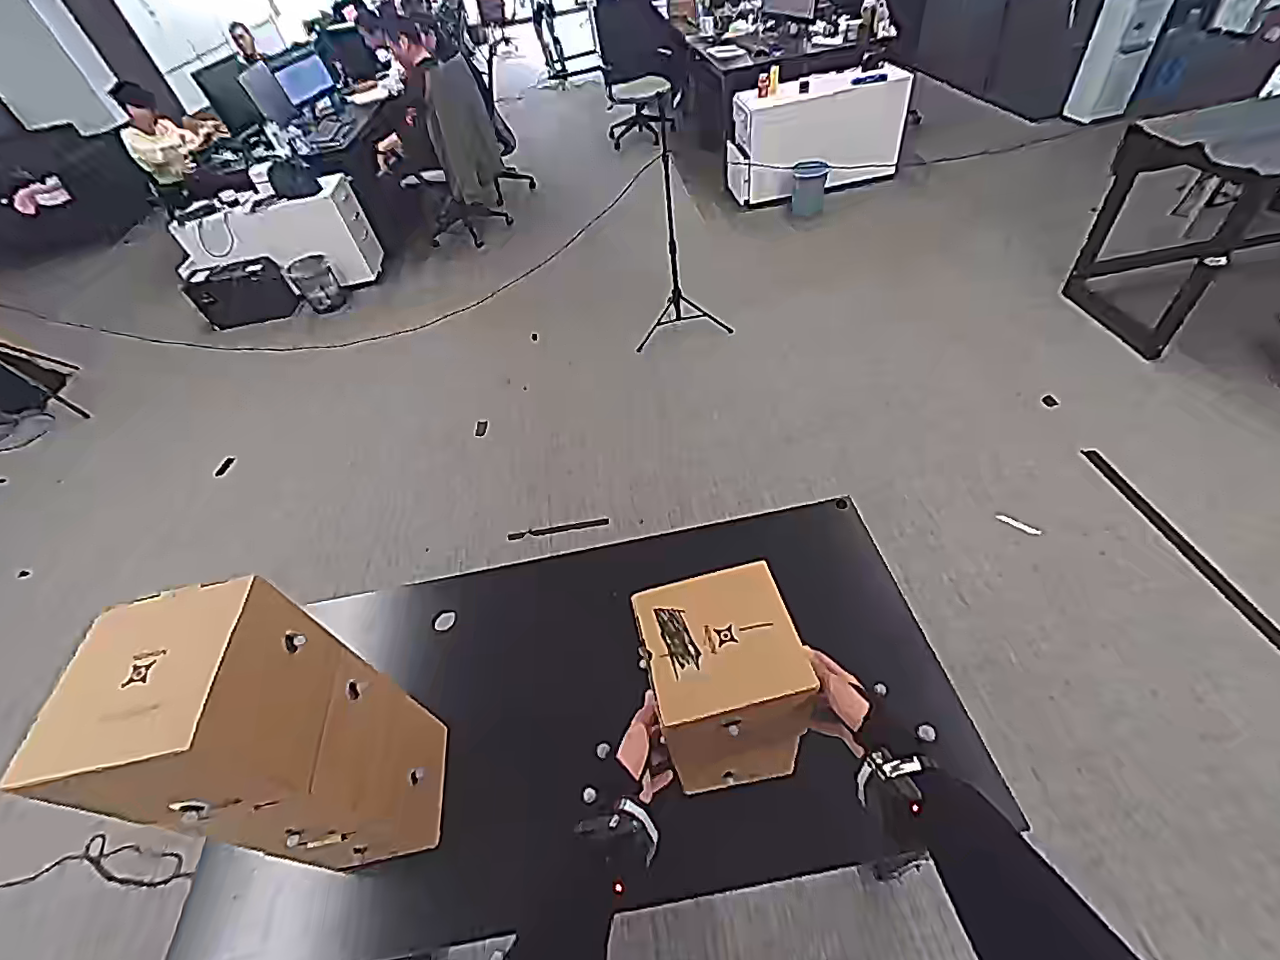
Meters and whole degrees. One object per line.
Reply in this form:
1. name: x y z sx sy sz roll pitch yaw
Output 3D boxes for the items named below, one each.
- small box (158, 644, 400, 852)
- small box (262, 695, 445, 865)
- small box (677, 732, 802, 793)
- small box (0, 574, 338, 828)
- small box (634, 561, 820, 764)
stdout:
1. small box: -0.423 0.335 0.675 0.168 0.176 0.179 -13 48 0
2. small box: -0.401 0.446 0.795 0.168 0.176 0.179 -13 48 -1
3. small box: 0.124 0.334 0.798 0.168 0.176 0.179 -12 48 0
4. small box: -0.444 0.227 0.554 0.168 0.176 0.179 -13 48 0
5. small box: 0.102 0.231 0.672 0.179 0.176 0.168 -14 48 -2
